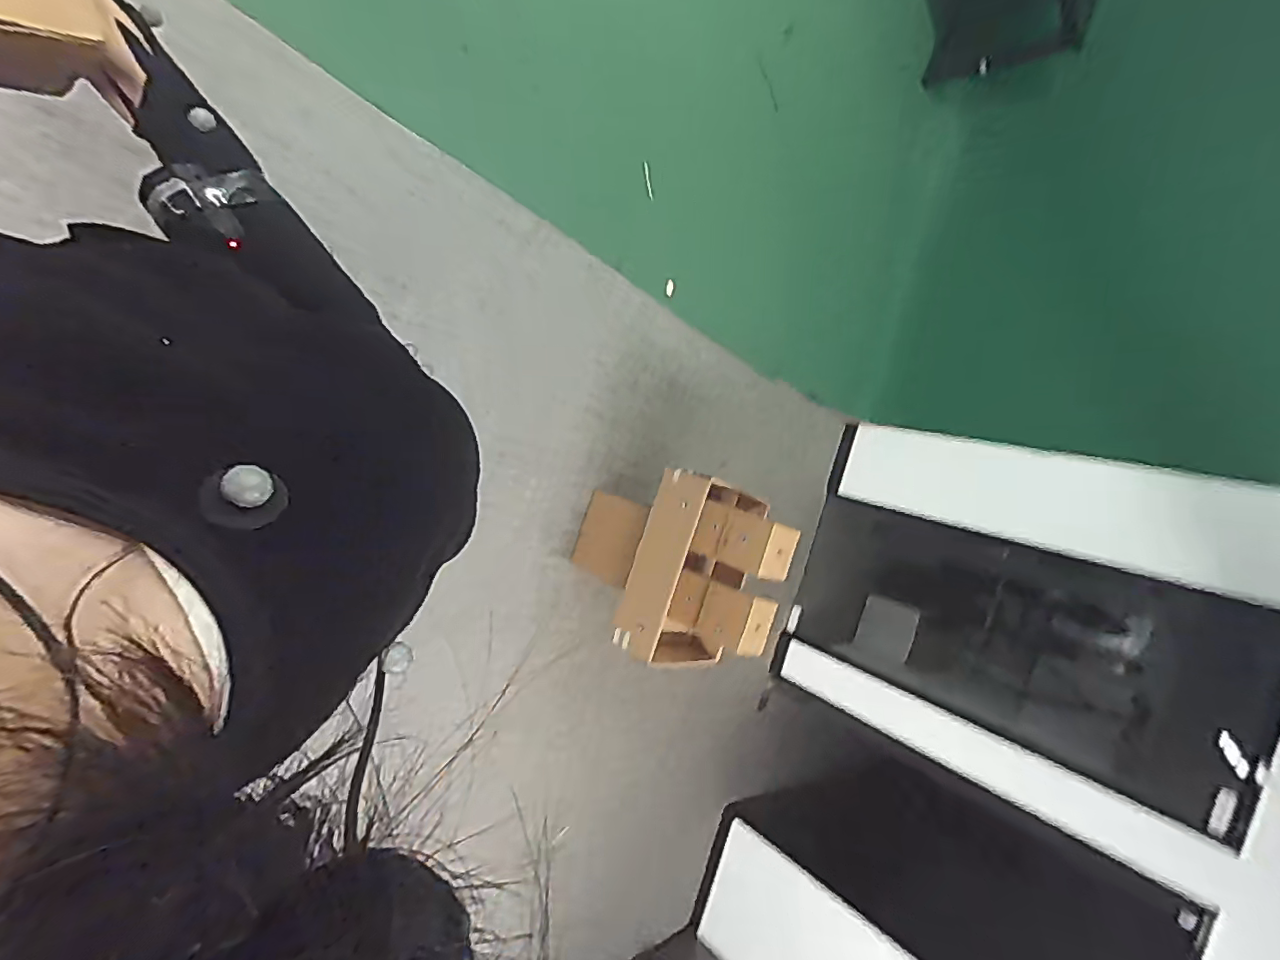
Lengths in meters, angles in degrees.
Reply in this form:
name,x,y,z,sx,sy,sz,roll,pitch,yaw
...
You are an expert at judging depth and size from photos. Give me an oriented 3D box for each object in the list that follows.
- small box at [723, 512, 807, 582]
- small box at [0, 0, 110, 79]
name,x,y,z,sx,sy,sz,roll,pitch,yaw
small box,0.387,0.206,1.688,0.179,0.176,0.168,18,90,-46
small box,-0.371,-0.298,0.222,0.168,0.176,0.179,-23,125,-45
